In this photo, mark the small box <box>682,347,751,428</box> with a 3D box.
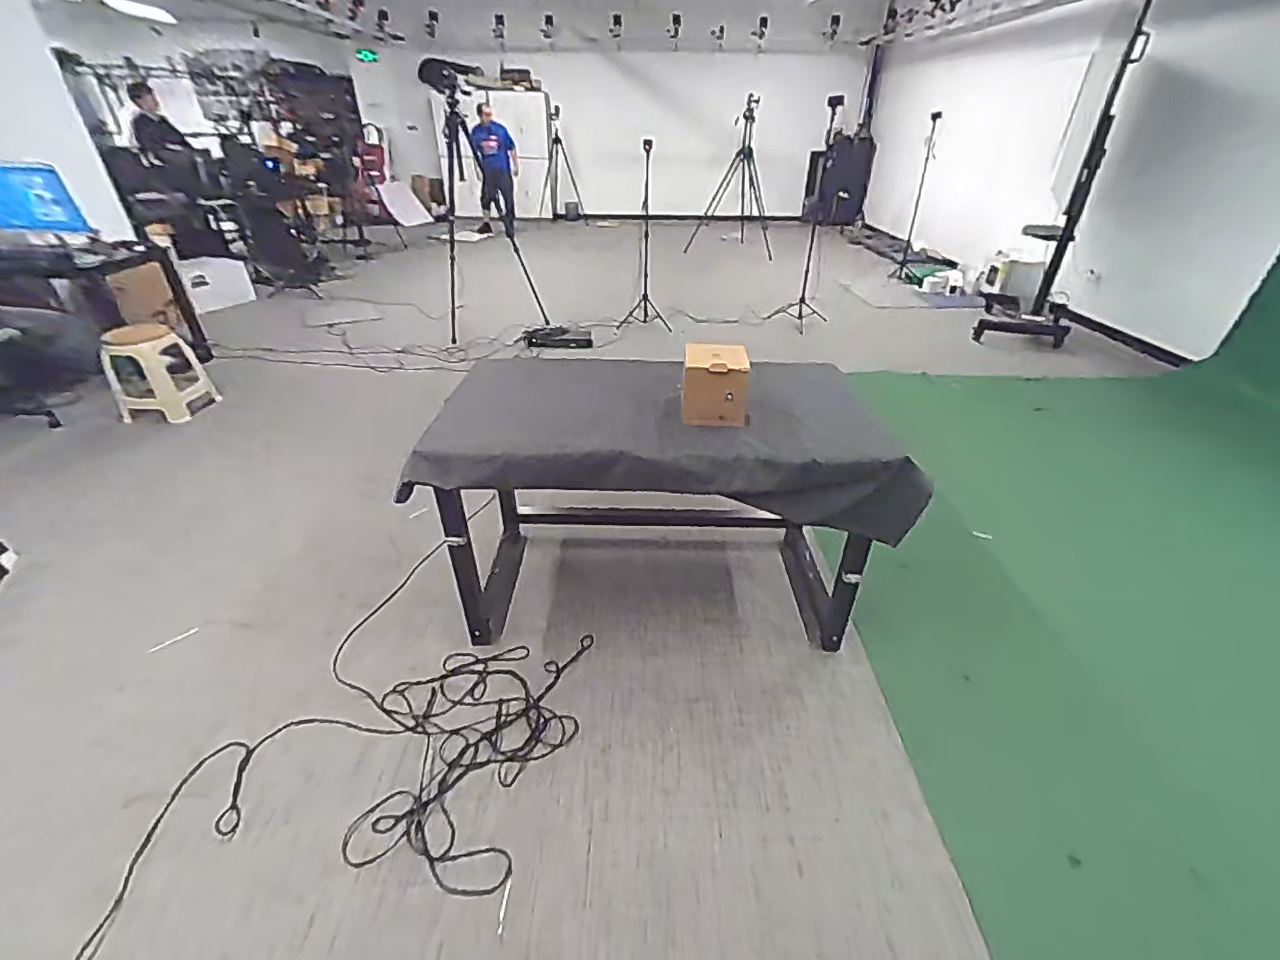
[{"bbox_3d":[0.202,-0.251,1.464,0.168,0.176,0.179,3,32,2],"label":"small box"}]
